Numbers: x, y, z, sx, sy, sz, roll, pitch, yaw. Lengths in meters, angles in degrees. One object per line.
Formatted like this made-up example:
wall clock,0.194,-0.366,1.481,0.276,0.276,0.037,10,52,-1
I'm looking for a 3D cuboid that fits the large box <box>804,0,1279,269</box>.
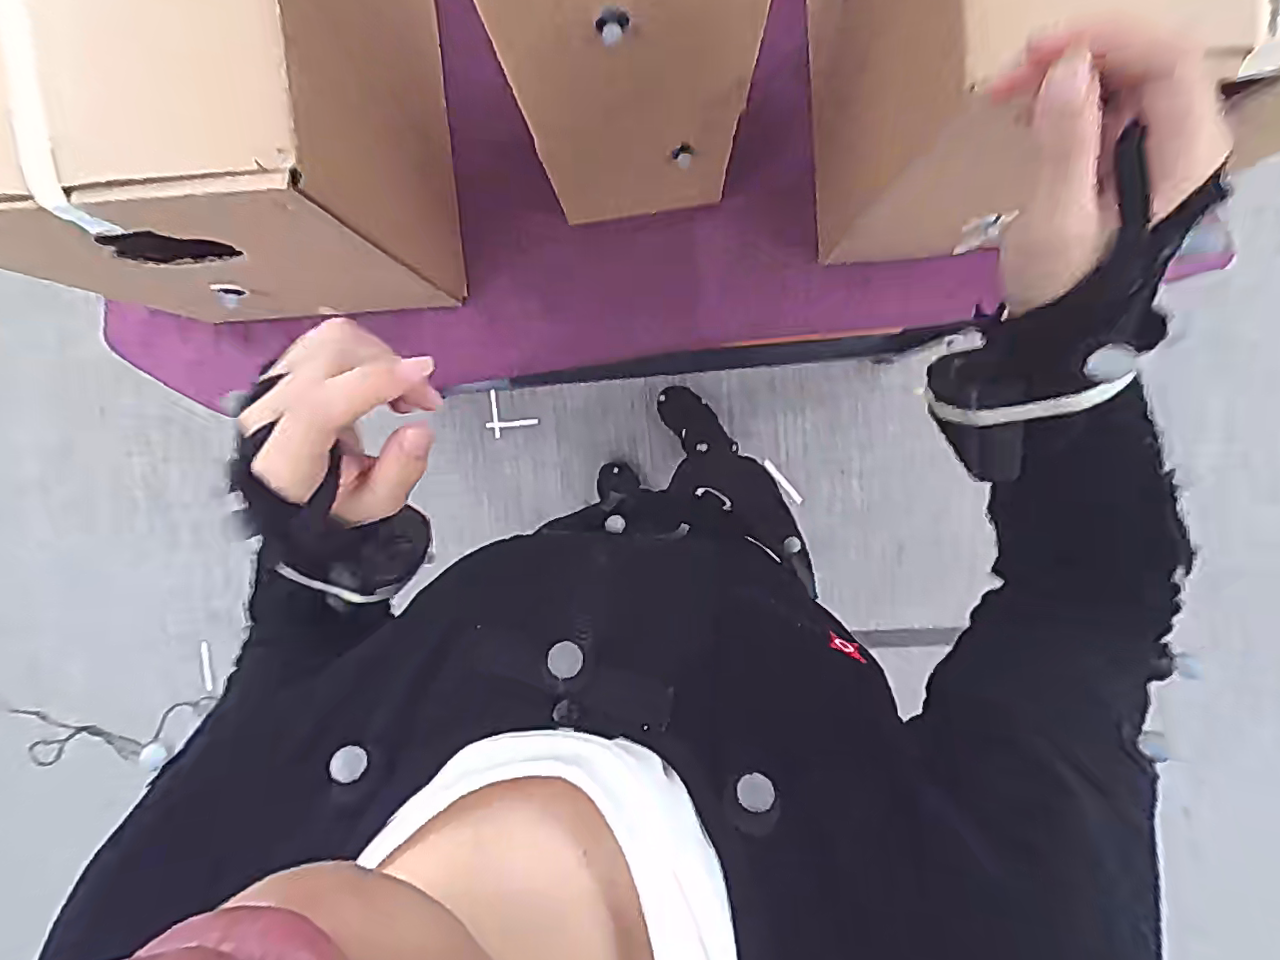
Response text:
large box,0.326,-0.433,0.430,0.320,0.320,0.408,-5,93,3
